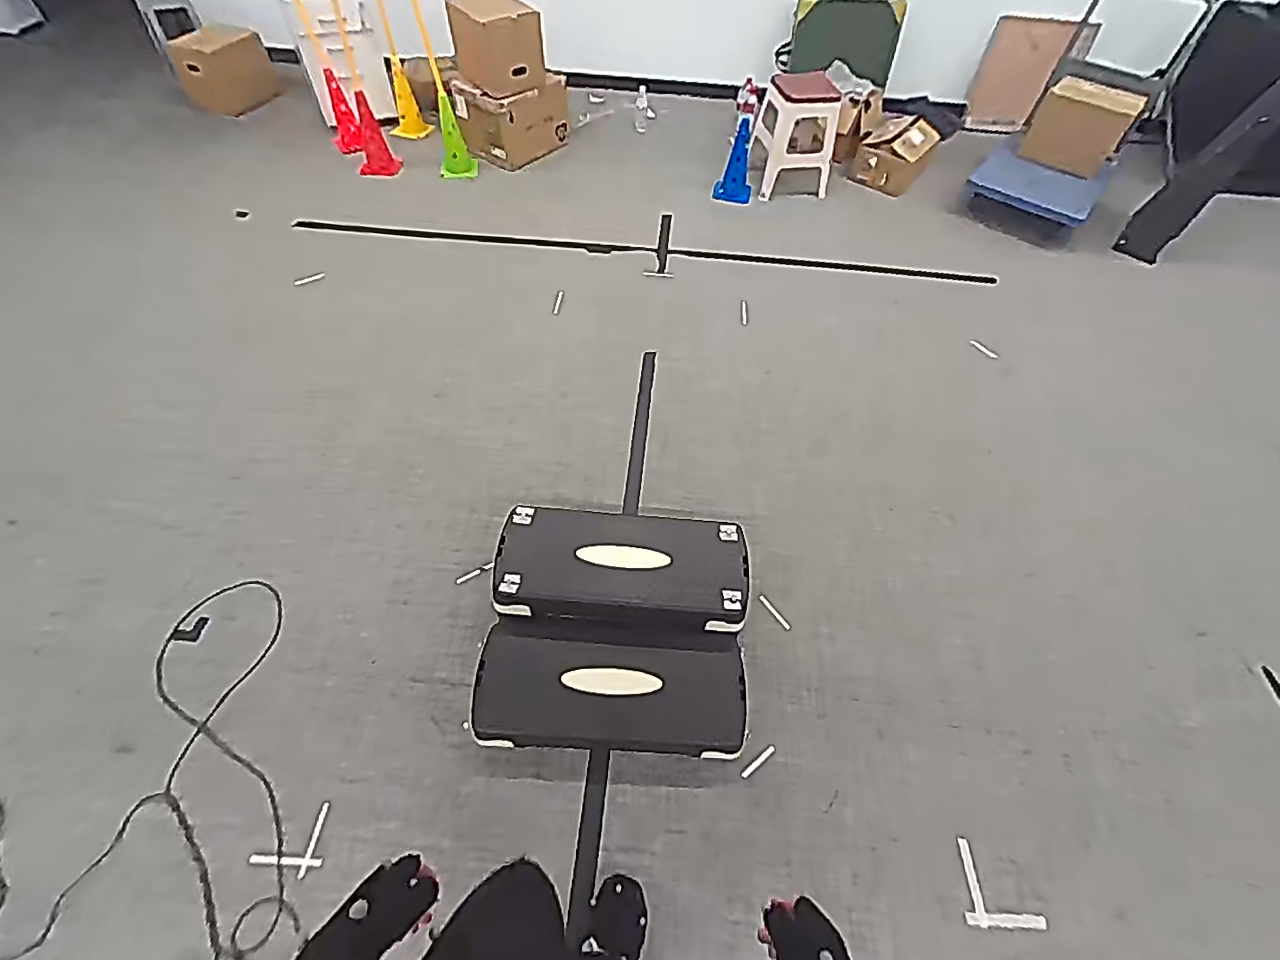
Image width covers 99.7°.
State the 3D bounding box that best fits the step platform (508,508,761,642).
[{"bbox_3d":[-0.013,0.260,1.499,0.684,0.204,0.286,5,54,-1],"label":"step platform"}]
